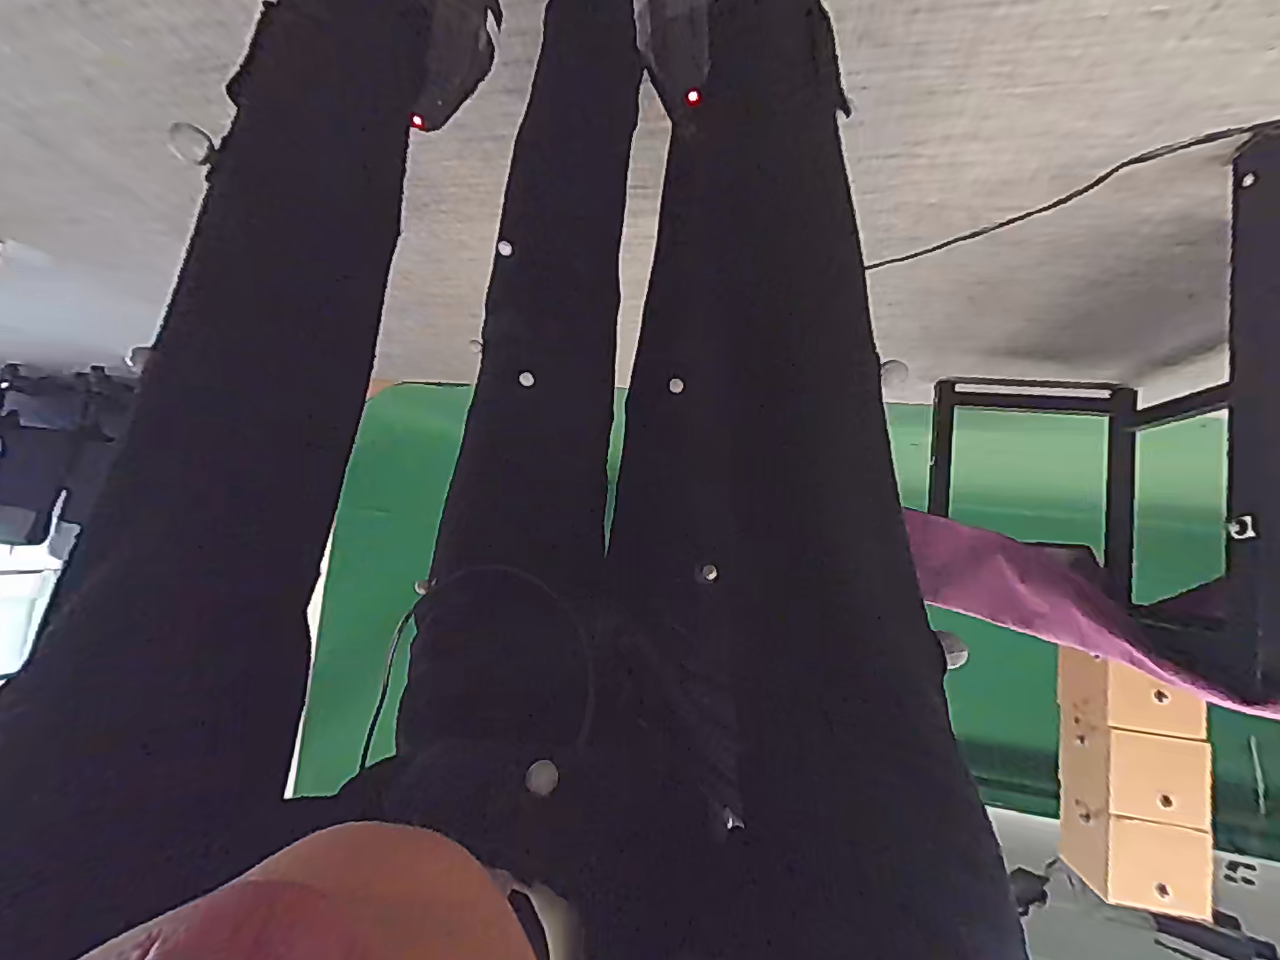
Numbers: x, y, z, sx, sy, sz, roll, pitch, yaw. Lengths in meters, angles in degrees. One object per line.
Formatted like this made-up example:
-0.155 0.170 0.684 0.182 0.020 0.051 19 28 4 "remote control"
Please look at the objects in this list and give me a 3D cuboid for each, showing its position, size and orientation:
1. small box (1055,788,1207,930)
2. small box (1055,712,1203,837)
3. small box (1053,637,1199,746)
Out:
0.996 0.762 1.109 0.179 0.176 0.168 5 173 10 "small box"
1.010 0.600 1.127 0.179 0.176 0.168 6 173 10 "small box"
1.020 0.437 1.148 0.179 0.176 0.168 5 174 9 "small box"
